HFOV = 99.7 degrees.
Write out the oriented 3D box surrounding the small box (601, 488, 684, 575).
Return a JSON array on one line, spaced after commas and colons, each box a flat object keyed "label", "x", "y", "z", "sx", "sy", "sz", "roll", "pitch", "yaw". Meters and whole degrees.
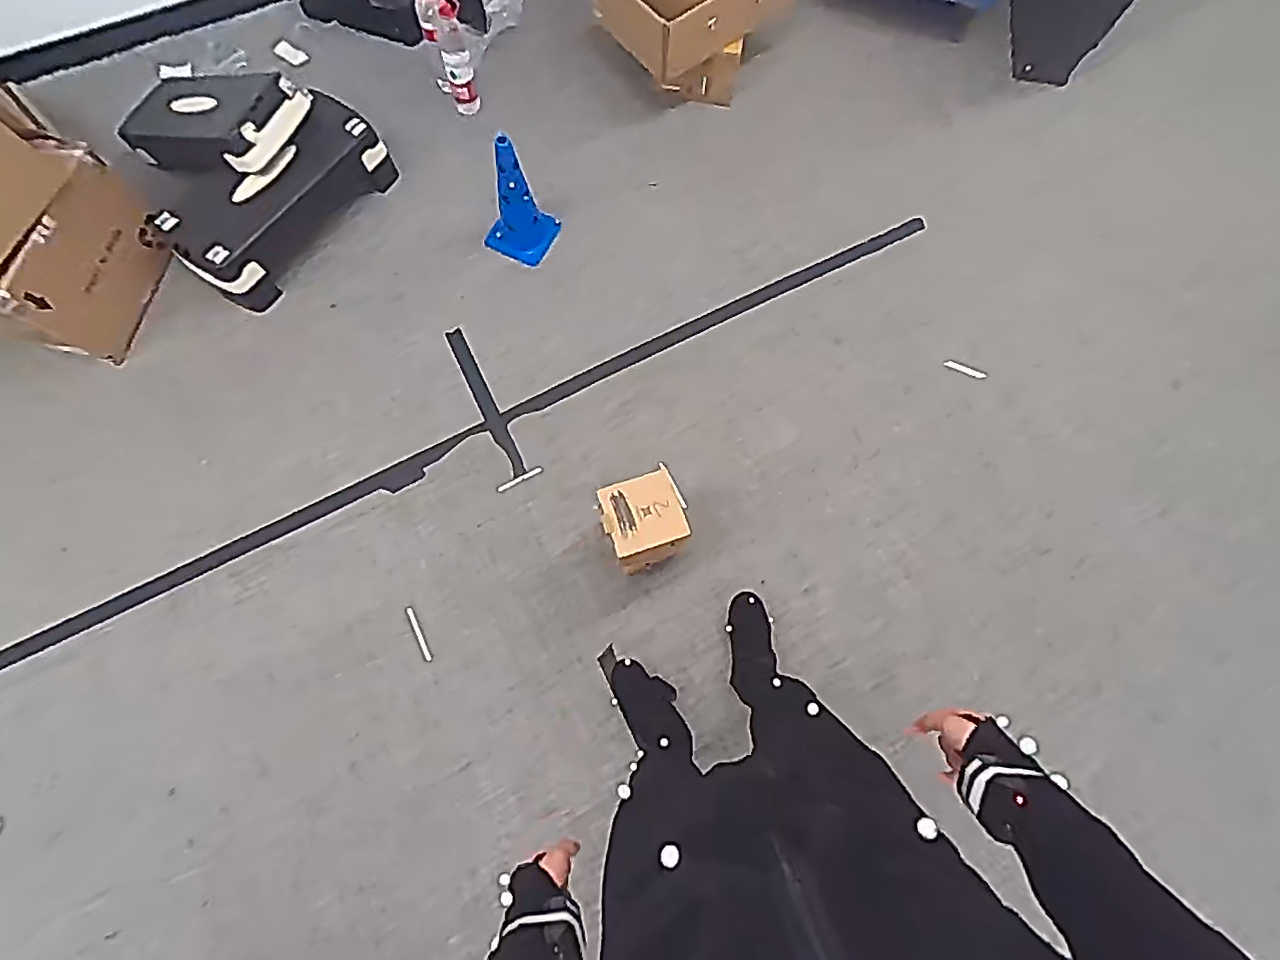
[{"label": "small box", "x": 0.005, "y": 0.147, "z": 1.454, "sx": 0.168, "sy": 0.176, "sz": 0.179, "roll": -23, "pitch": 76, "yaw": -8}]
